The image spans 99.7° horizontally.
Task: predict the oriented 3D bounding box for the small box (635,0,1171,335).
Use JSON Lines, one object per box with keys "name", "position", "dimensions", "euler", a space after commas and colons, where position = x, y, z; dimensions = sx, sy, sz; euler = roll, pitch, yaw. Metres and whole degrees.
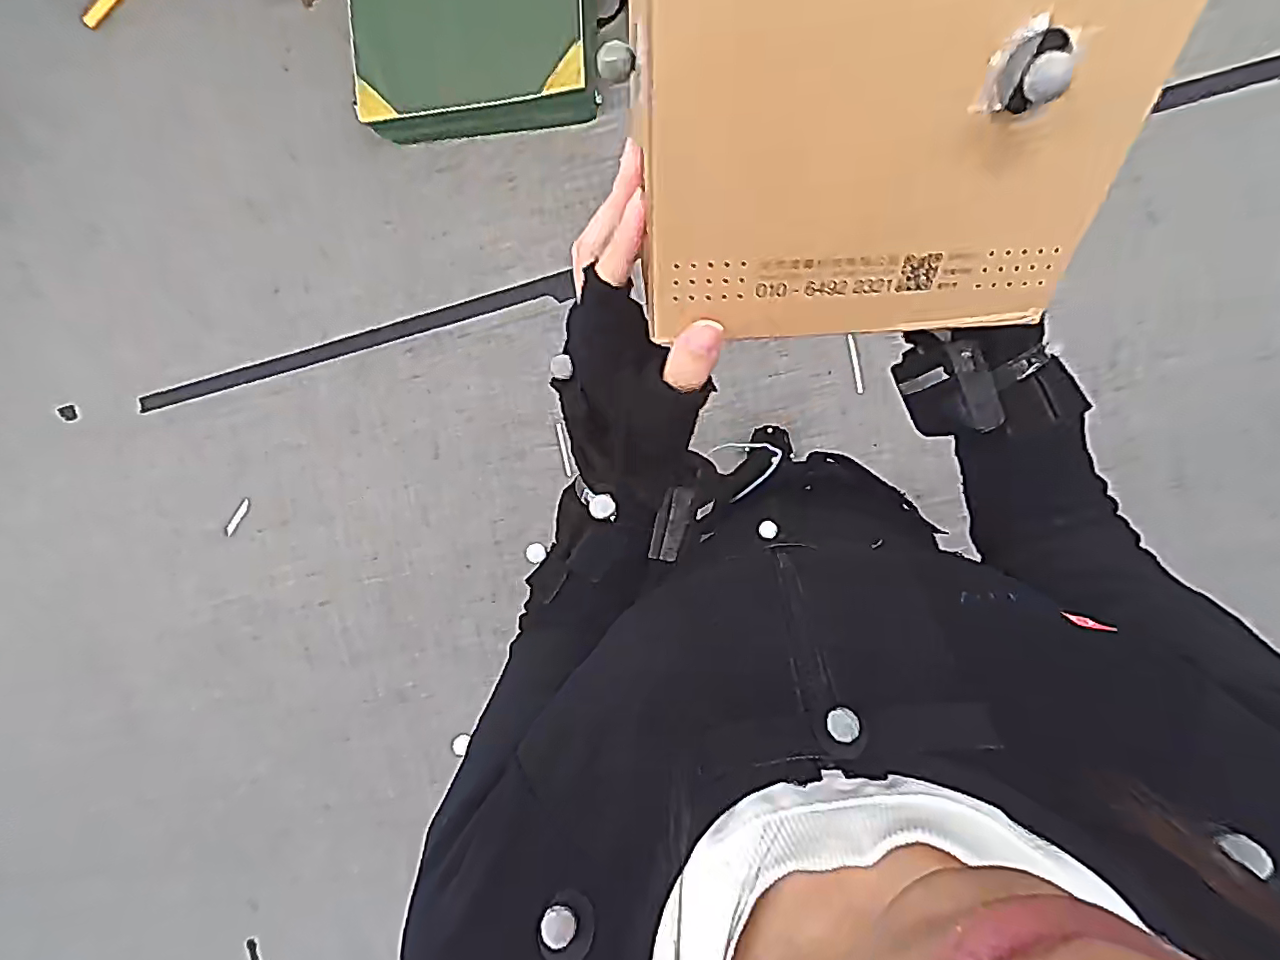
{"name": "small box", "position": [0.084, -0.175, 0.240], "dimensions": [0.168, 0.179, 0.176], "euler": [-3, 134, -2]}
